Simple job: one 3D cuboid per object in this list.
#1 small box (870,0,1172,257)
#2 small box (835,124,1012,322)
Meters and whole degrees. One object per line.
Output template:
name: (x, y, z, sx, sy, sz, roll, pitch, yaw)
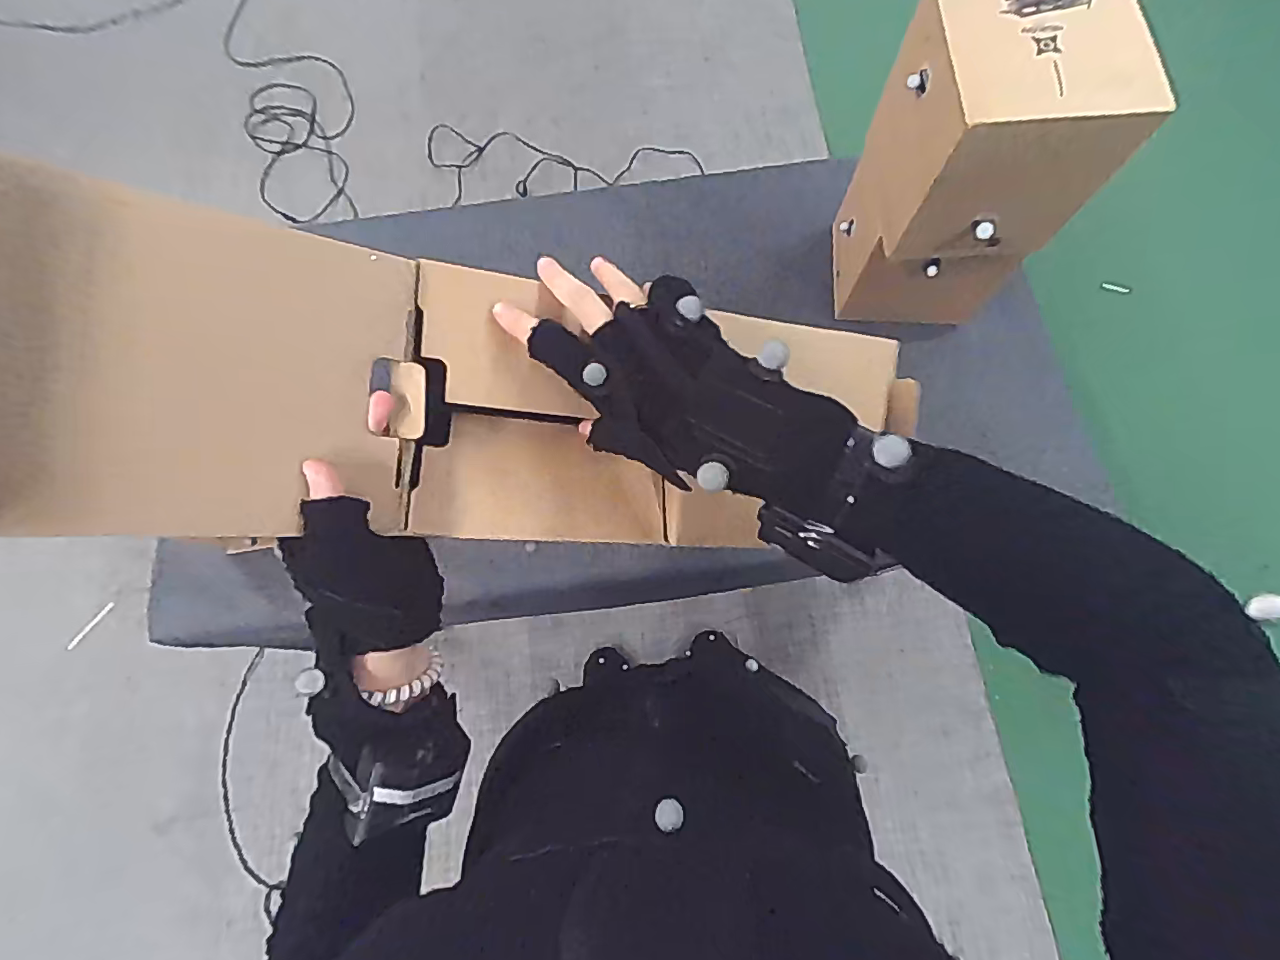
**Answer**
small box: (0.344, -0.348, 0.532, 0.168, 0.176, 0.179, -2, 74, 2)
small box: (0.358, -0.320, 0.694, 0.179, 0.176, 0.168, 4, 74, 3)
